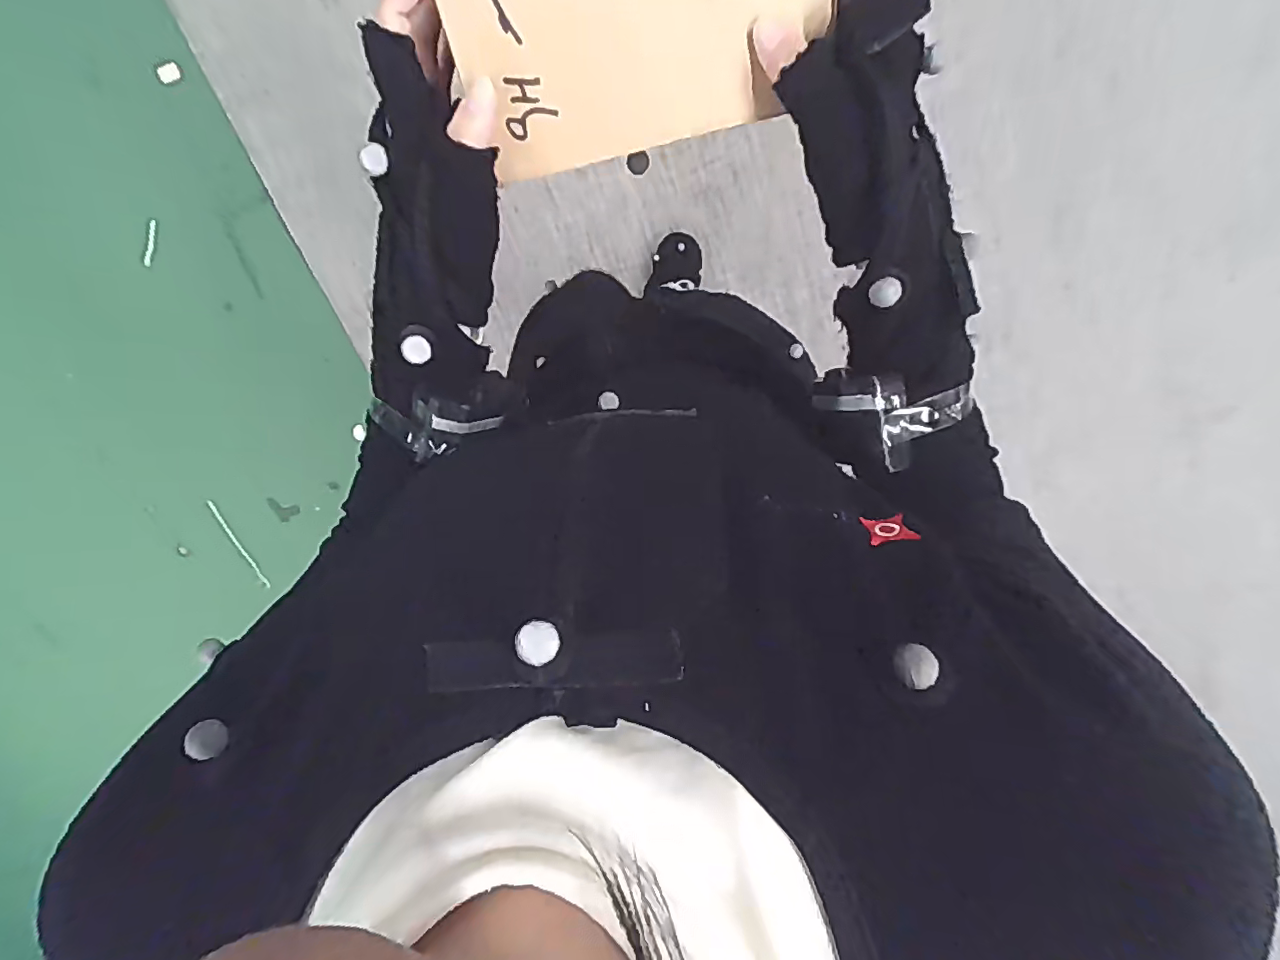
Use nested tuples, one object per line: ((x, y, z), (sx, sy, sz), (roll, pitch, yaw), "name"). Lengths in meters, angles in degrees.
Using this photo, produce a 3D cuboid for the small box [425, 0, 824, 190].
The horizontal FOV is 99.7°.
((-0.021, -0.275, 0.292), (0.179, 0.176, 0.168), (-16, 123, 2), "small box")
